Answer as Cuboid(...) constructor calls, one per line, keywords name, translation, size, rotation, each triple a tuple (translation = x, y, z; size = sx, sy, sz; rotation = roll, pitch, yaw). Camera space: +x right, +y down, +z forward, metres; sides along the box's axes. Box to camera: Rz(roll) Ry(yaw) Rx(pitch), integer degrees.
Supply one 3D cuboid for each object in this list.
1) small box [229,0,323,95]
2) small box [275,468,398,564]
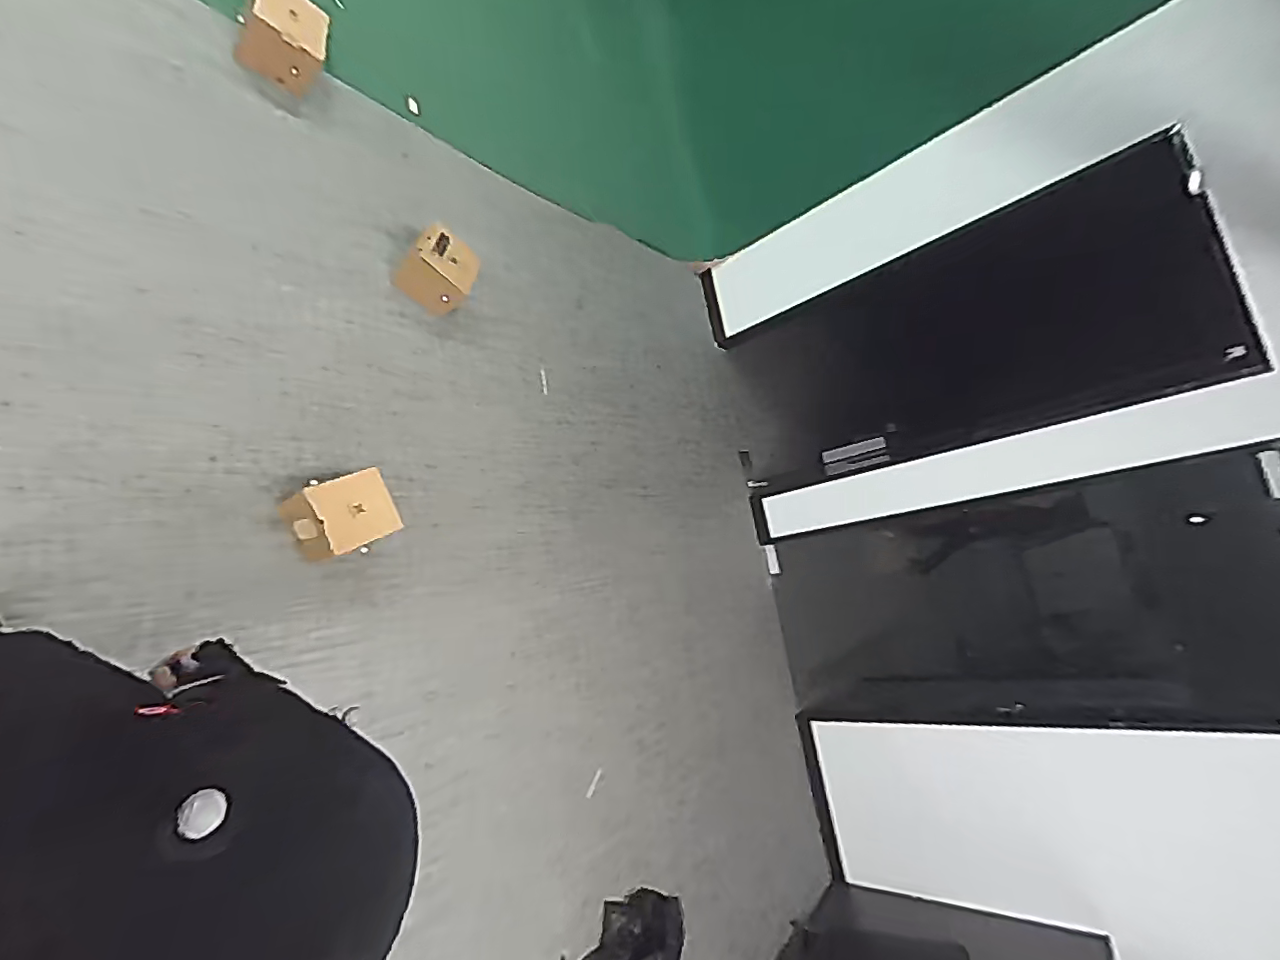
Cuboid(name="small box", translation=(-0.995, -1.214, 1.475), size=(0.168, 0.176, 0.179), rotation=(15, 64, -50))
Cuboid(name="small box", translation=(-0.730, 0.086, 1.301), size=(0.179, 0.176, 0.168), rotation=(-30, 100, -52))
